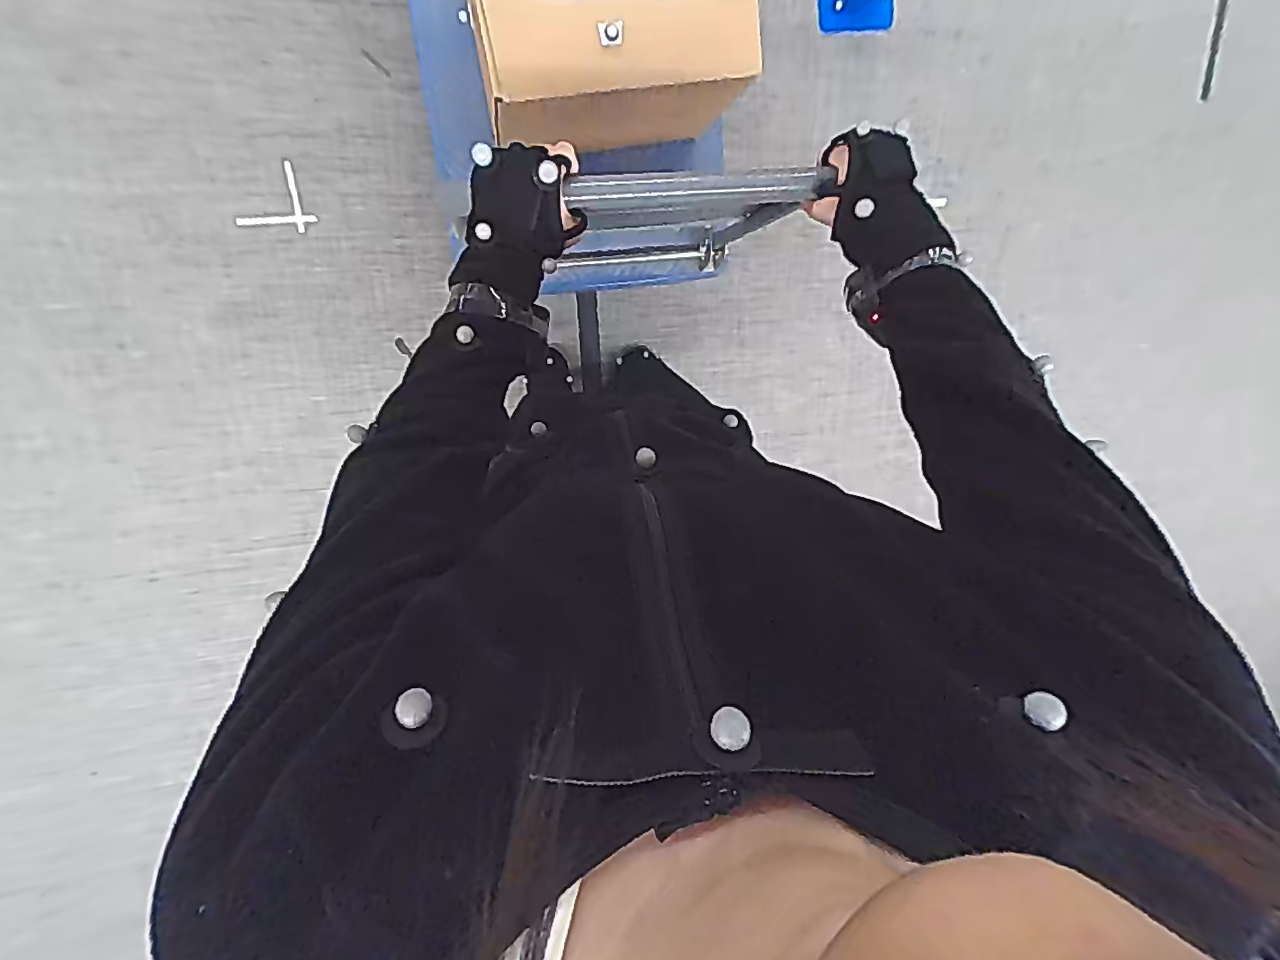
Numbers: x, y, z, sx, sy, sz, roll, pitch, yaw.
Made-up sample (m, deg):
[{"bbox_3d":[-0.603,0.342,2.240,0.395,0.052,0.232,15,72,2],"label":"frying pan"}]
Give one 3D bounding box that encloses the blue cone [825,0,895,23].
[{"bbox_3d":[0.551,-1.138,1.107,0.193,0.380,0.192,-11,107,-11],"label":"blue cone"}]
